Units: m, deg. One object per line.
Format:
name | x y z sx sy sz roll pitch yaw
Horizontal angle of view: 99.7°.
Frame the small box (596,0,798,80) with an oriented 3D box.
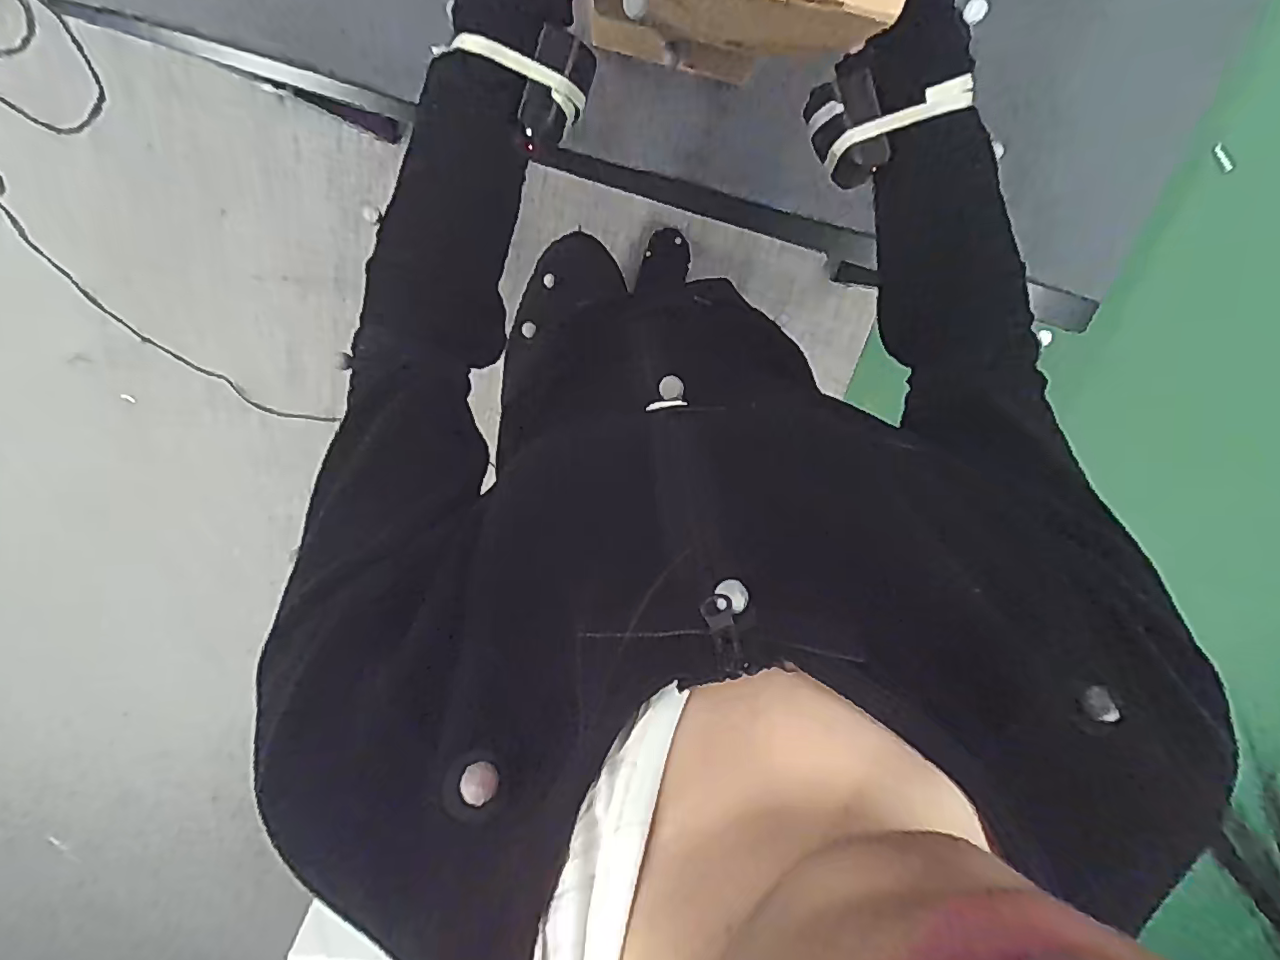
small box | 0.054 -0.483 0.457 0.168 0.176 0.179 10 111 -7
